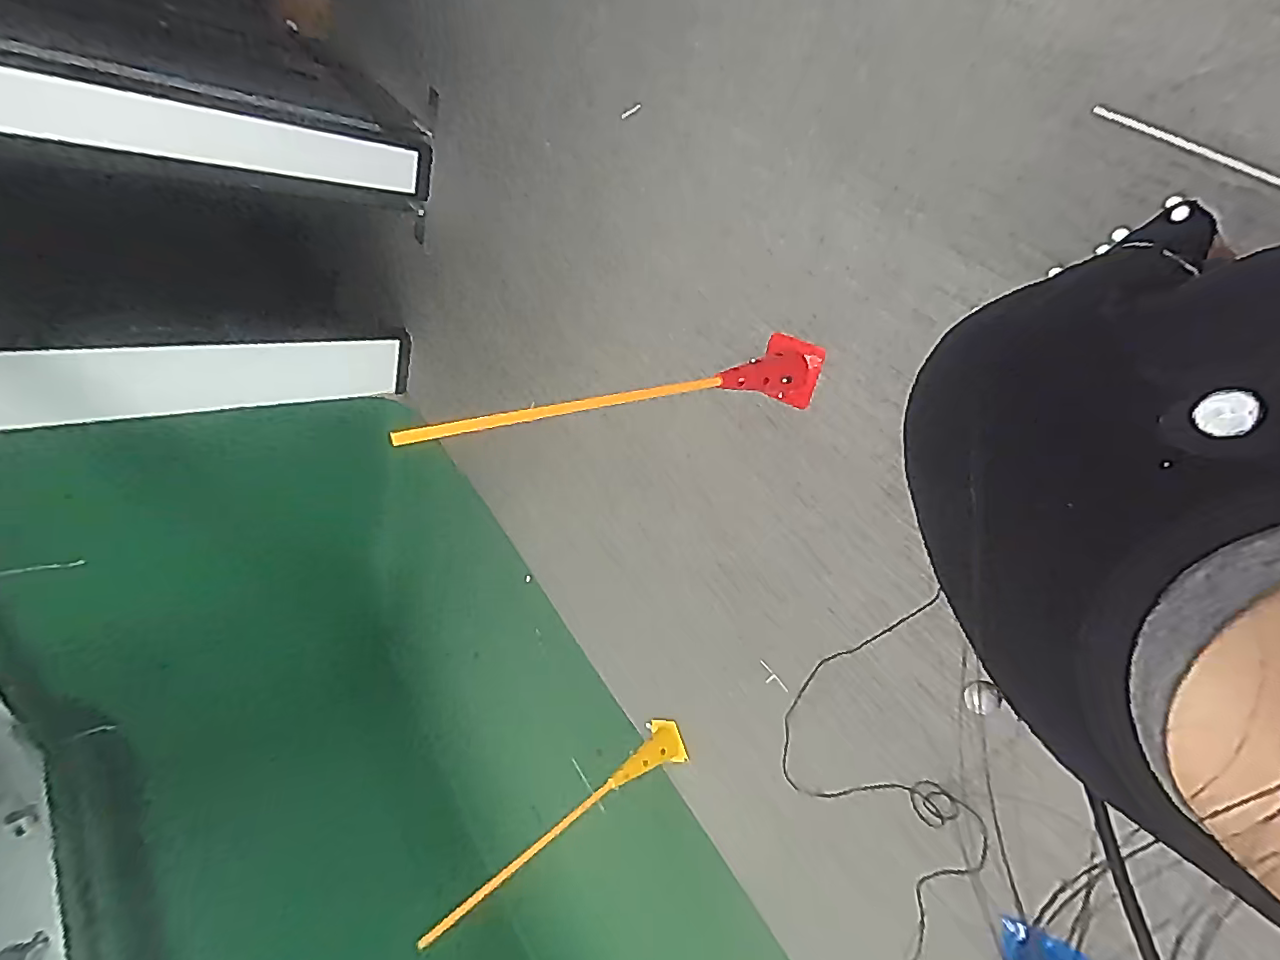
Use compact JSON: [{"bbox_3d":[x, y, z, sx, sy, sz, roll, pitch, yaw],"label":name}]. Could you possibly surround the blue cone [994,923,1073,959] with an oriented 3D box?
[{"bbox_3d":[0.981,1.373,1.380,0.193,0.380,0.192,-3,98,45],"label":"blue cone"}]
